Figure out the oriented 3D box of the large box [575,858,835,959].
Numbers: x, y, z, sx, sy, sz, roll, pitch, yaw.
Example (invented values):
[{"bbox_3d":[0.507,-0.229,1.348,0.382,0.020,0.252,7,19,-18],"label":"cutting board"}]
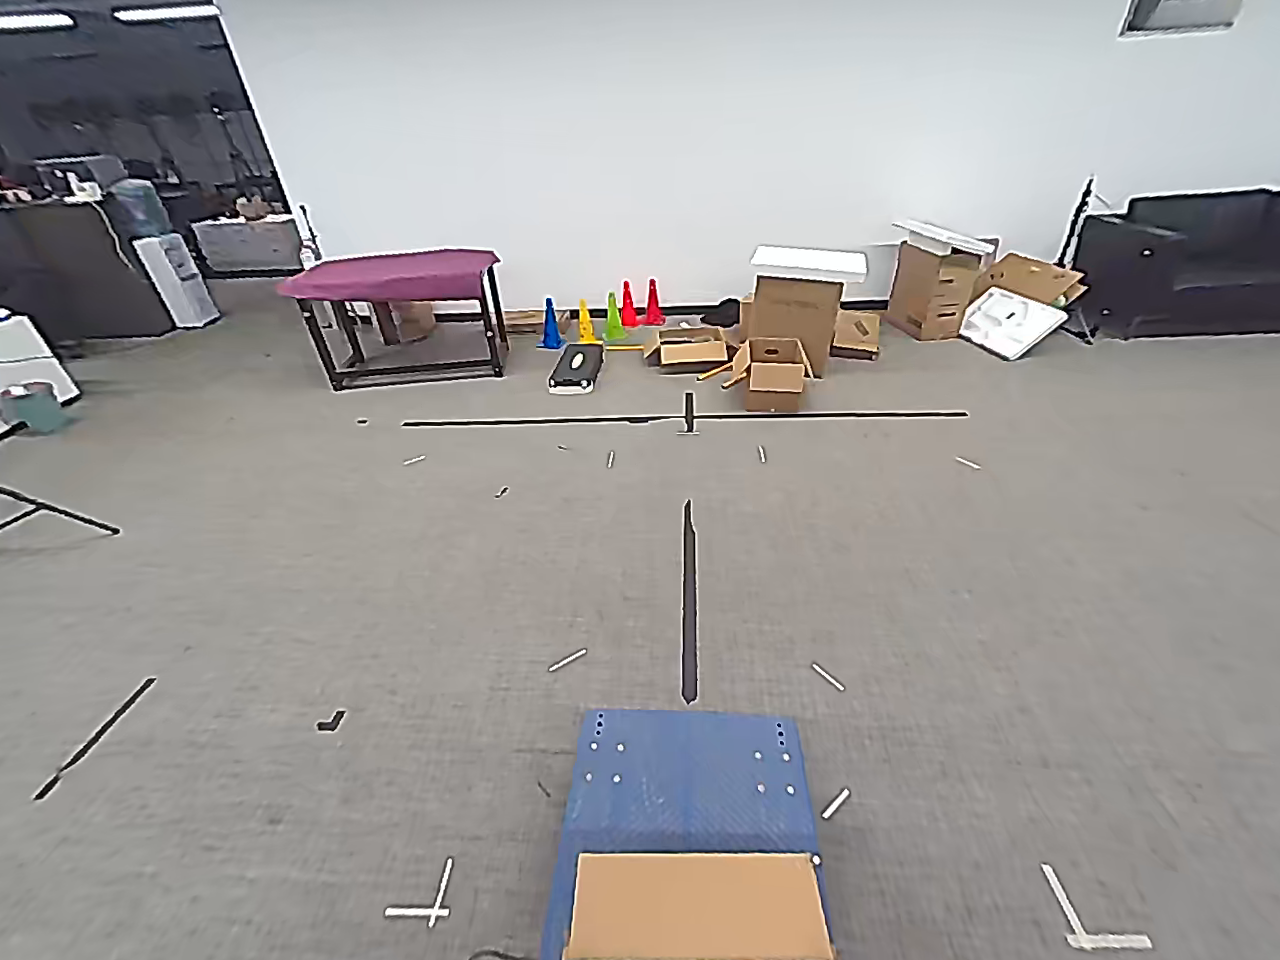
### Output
[{"bbox_3d":[0.102,0.868,0.892,0.408,0.320,0.320,-1,35,1],"label":"large box"}]
